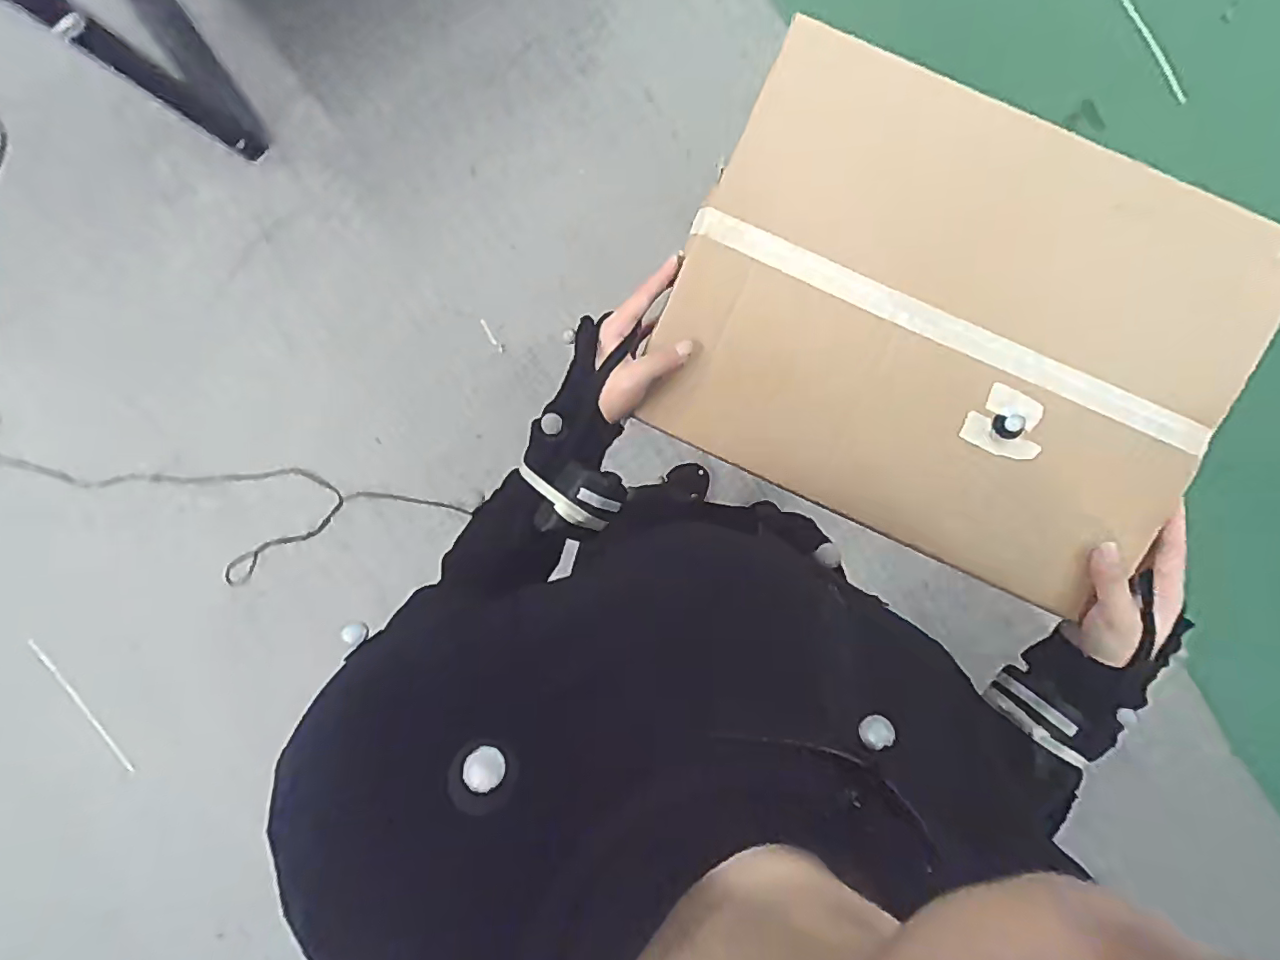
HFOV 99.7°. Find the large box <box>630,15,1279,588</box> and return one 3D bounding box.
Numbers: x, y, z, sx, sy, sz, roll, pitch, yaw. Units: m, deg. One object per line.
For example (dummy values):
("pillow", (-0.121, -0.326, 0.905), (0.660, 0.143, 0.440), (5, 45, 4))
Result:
("large box", (0.236, -0.143, 0.556), (0.408, 0.320, 0.320), (24, 97, 1))
